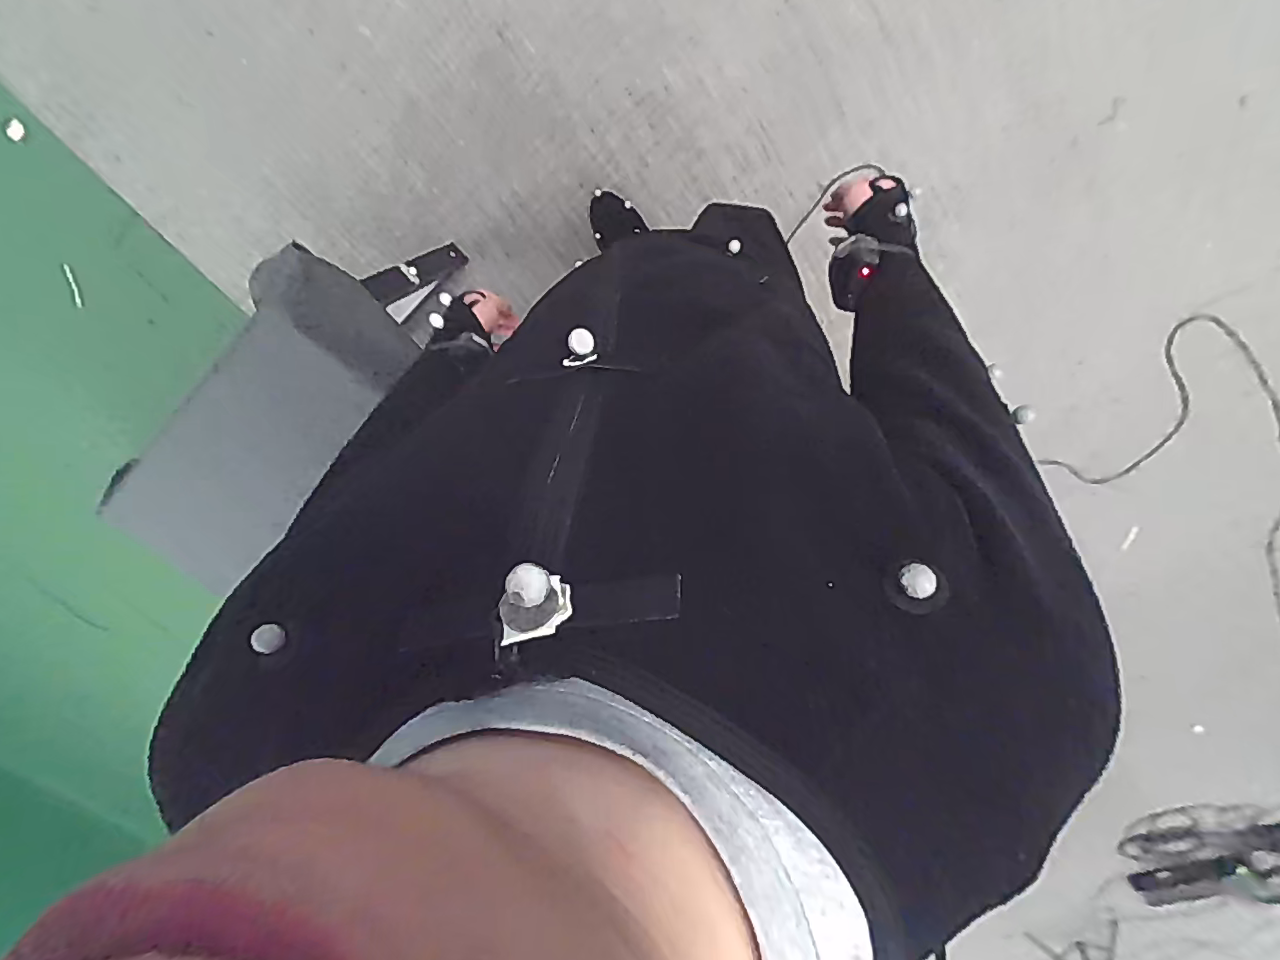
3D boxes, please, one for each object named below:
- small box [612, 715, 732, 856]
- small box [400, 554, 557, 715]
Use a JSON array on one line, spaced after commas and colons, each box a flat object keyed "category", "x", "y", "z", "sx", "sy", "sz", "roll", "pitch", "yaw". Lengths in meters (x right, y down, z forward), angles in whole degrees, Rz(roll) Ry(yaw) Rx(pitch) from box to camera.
[{"category": "small box", "x": 0.069, "y": 0.621, "z": 1.106, "sx": 0.179, "sy": 0.176, "sz": 0.168, "roll": -34, "pitch": 112, "yaw": 21}, {"category": "small box", "x": -0.261, "y": 0.259, "z": 0.924, "sx": 0.179, "sy": 0.176, "sz": 0.168, "roll": -34, "pitch": 111, "yaw": 23}]
